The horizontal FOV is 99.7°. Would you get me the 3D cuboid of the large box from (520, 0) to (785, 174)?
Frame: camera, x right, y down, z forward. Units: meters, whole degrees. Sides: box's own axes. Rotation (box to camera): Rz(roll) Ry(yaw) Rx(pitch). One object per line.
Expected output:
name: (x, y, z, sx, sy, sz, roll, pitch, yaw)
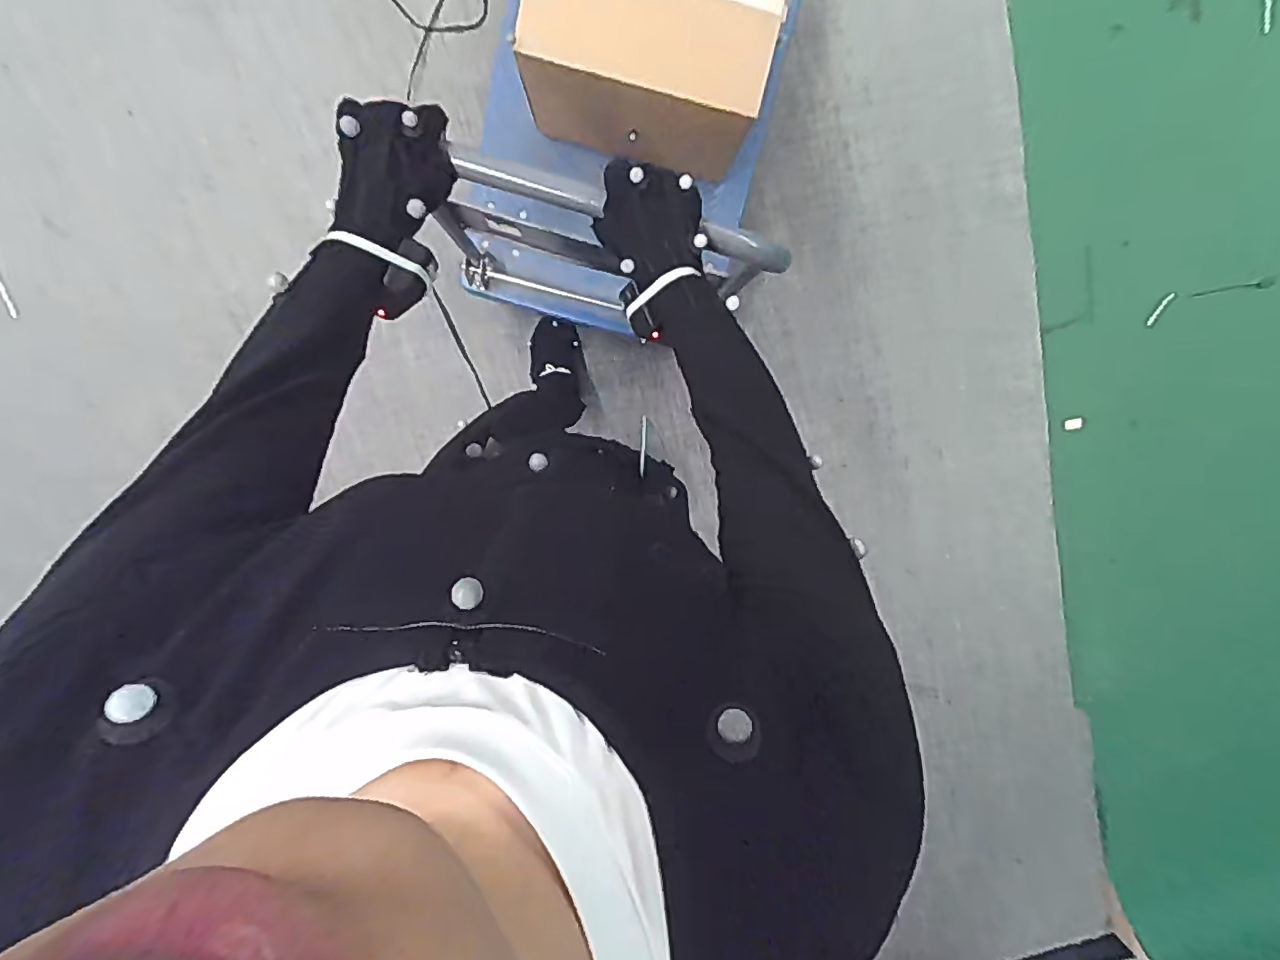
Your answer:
large box: (0.030, -0.814, 0.989, 0.408, 0.320, 0.320, 12, 100, -5)
